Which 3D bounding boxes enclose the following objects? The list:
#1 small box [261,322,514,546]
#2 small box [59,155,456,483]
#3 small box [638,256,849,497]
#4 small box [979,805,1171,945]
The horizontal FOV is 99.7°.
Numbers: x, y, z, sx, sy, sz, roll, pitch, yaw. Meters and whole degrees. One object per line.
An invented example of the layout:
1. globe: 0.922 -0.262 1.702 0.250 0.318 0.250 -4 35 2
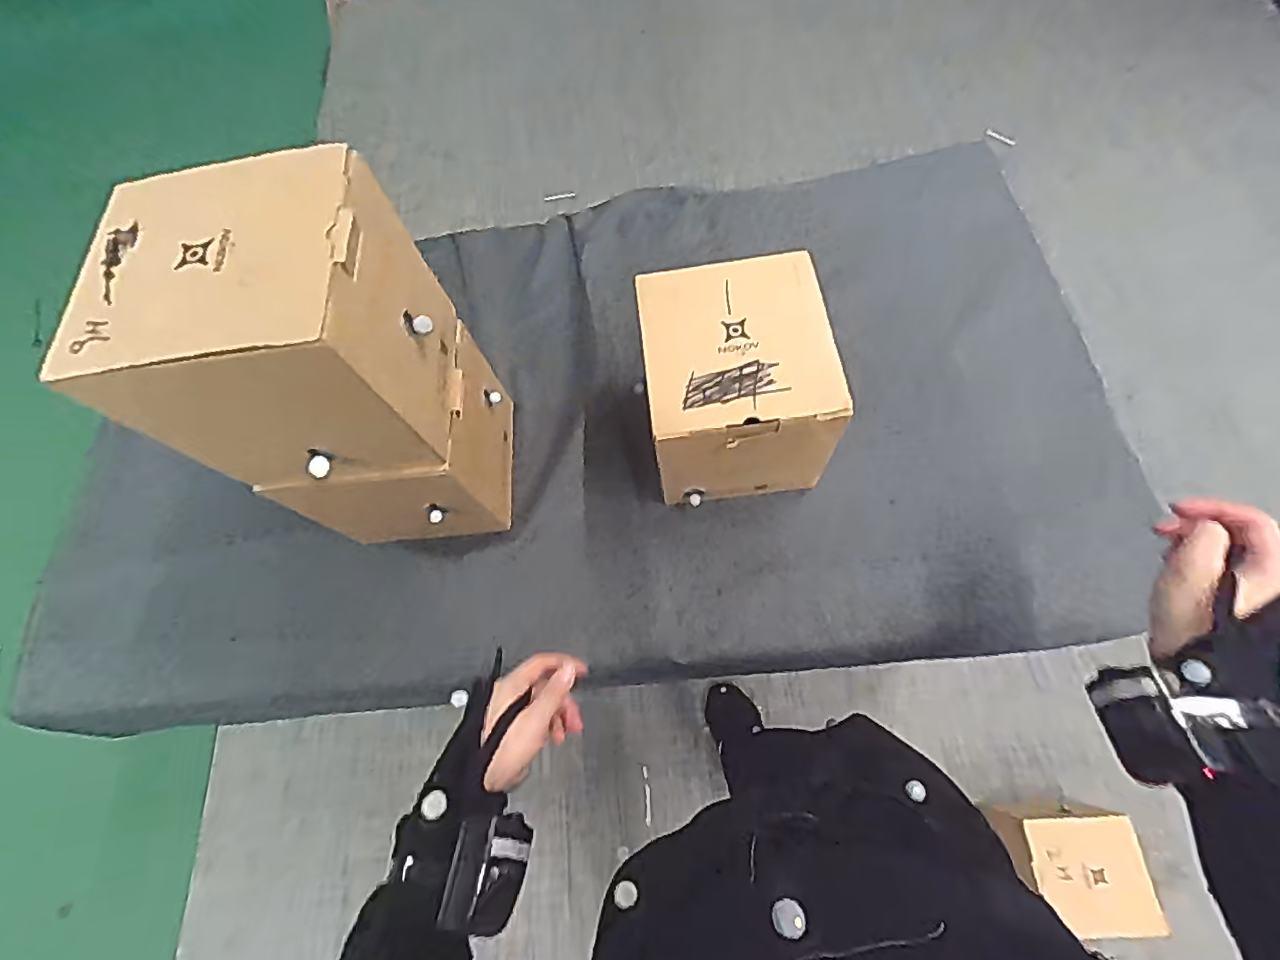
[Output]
1. small box: -0.240 -0.038 0.567 0.179 0.176 0.168 -7 65 4
2. small box: -0.258 -0.109 0.420 0.179 0.176 0.168 -7 66 3
3. small box: 0.093 -0.091 0.552 0.168 0.176 0.179 -7 66 3
4. small box: 0.743 0.679 0.948 0.179 0.176 0.168 -6 66 3
